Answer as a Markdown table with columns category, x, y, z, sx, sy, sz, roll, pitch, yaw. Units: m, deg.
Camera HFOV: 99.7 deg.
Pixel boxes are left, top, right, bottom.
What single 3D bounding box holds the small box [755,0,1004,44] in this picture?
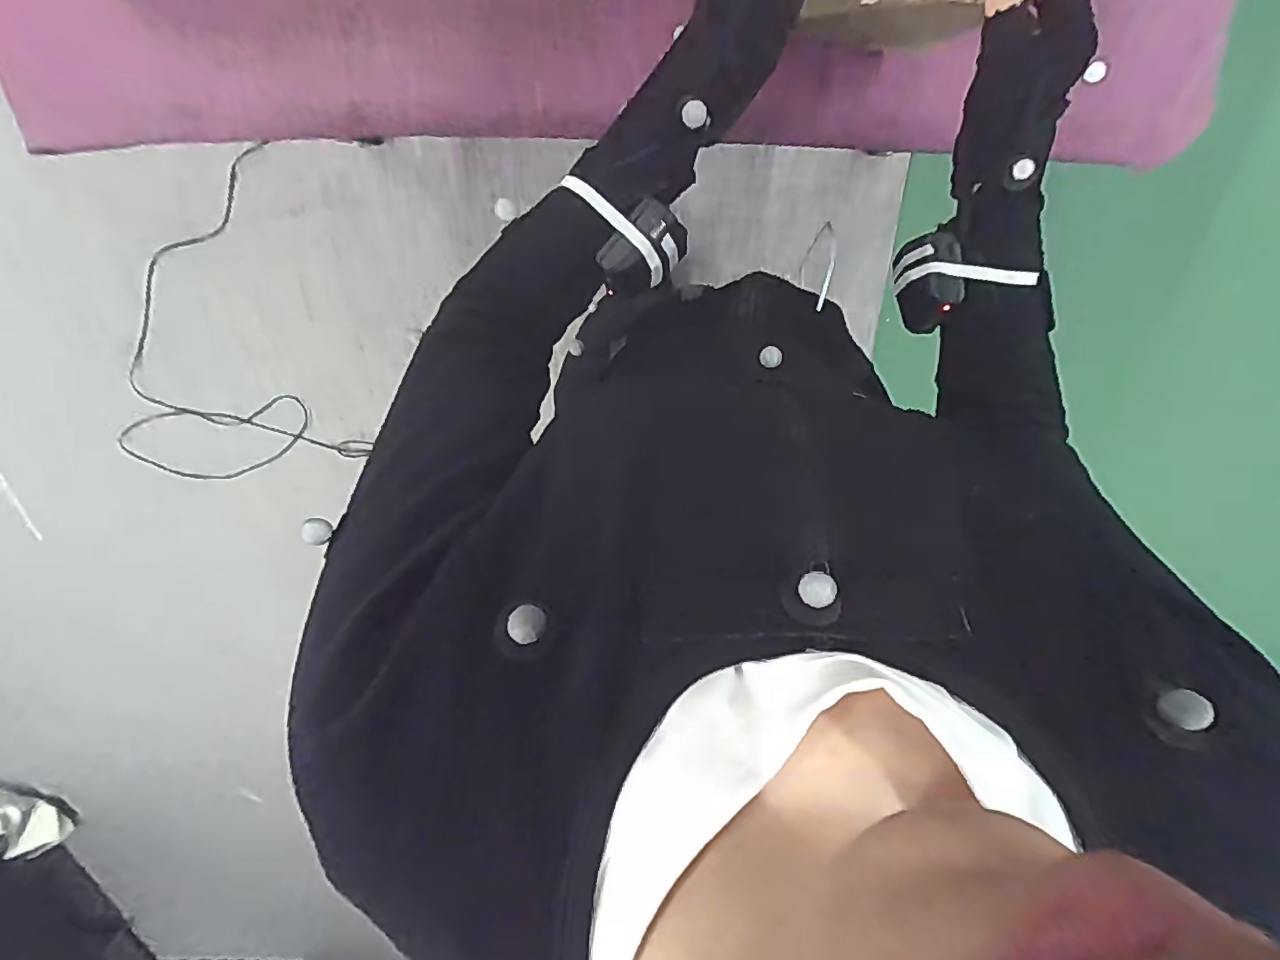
| category | x | y | z | sx | sy | sz | roll | pitch | yaw |
| --- | --- | --- | --- | --- | --- | --- | --- | --- | --- |
| small box | 0.186 | -0.451 | 0.395 | 0.168 | 0.176 | 0.179 | 7 | 118 | -3 |
